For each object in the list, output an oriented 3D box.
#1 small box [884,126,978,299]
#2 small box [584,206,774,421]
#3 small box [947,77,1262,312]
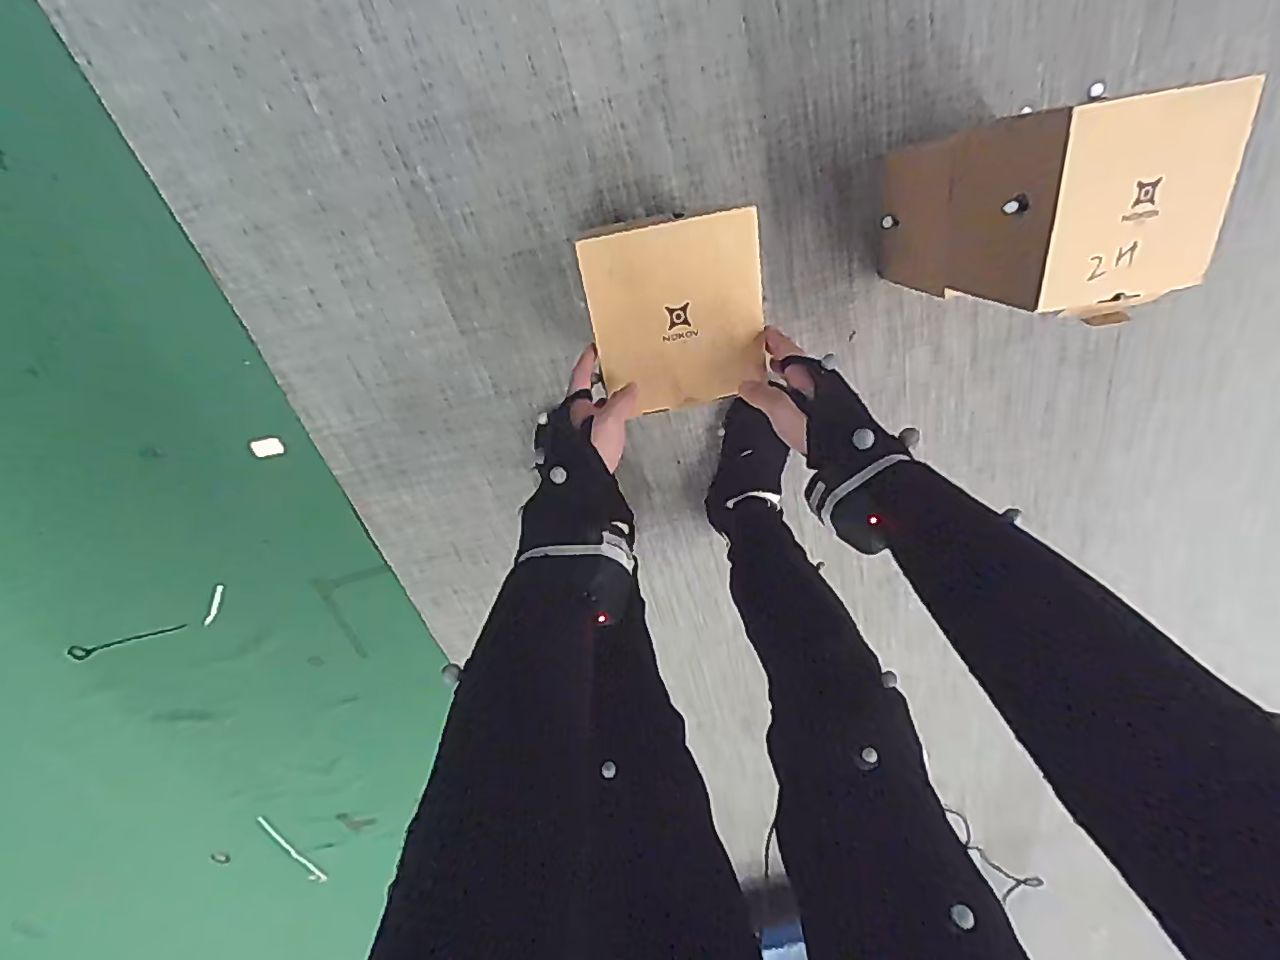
[{"bbox_3d":[0.442,-0.361,0.717,0.168,0.176,0.179,-14,120,2],"label":"small box"},{"bbox_3d":[0.036,-0.188,0.587,0.168,0.176,0.179,-12,119,0],"label":"small box"},{"bbox_3d":[0.453,-0.291,0.567,0.168,0.176,0.179,-9,119,1],"label":"small box"}]
